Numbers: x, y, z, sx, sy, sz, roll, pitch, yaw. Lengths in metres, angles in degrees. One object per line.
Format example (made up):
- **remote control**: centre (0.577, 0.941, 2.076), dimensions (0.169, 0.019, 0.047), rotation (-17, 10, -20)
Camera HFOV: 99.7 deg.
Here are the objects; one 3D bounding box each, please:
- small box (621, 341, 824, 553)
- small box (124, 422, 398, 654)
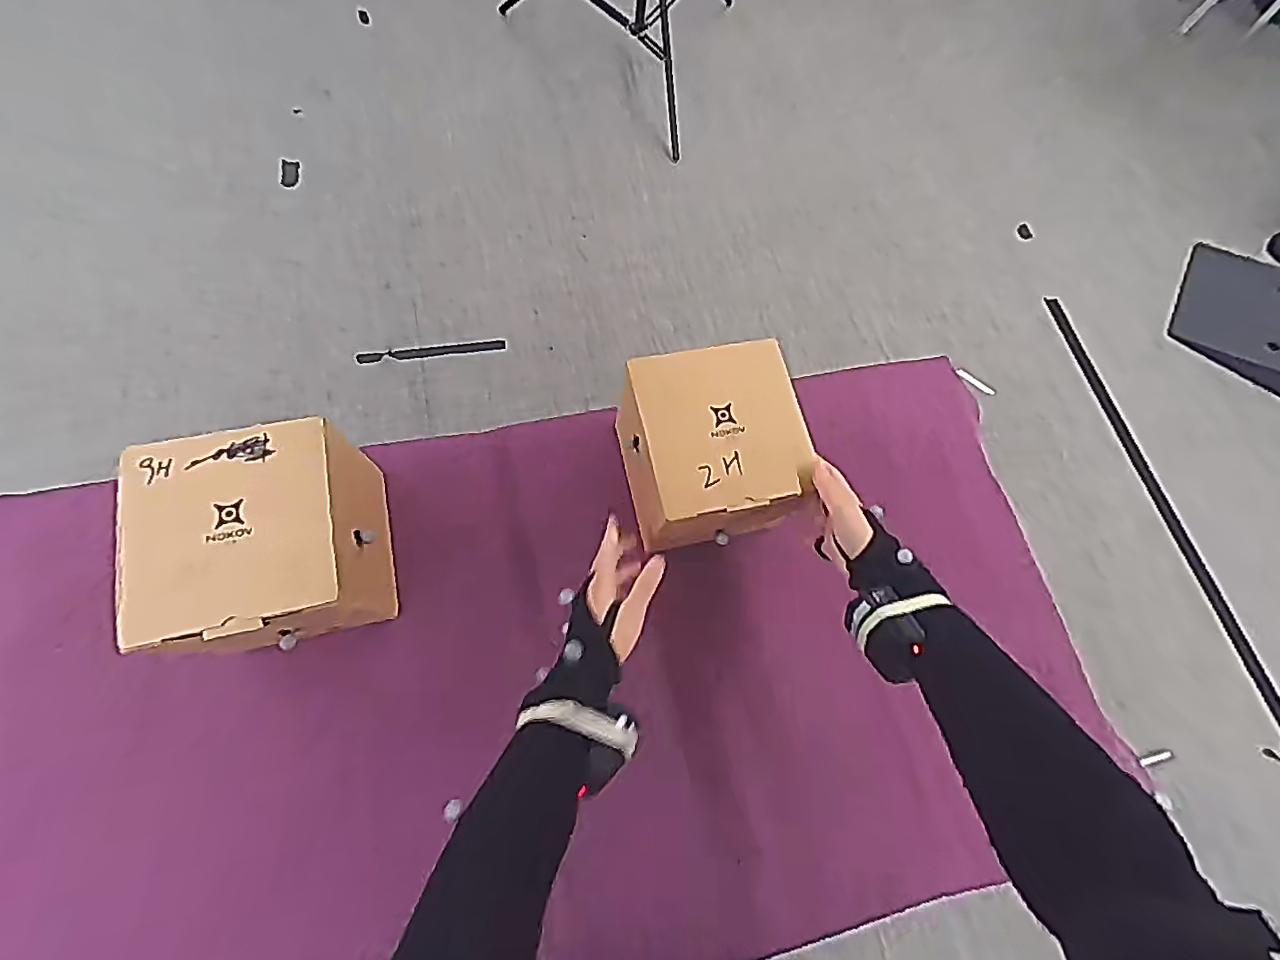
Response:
- **small box**: centre (0.076, -0.030, 0.617), dimensions (0.168, 0.176, 0.179), rotation (-11, 73, -9)
- **small box**: centre (-0.355, 0.064, 0.538), dimensions (0.168, 0.176, 0.179), rotation (-11, 75, -10)
